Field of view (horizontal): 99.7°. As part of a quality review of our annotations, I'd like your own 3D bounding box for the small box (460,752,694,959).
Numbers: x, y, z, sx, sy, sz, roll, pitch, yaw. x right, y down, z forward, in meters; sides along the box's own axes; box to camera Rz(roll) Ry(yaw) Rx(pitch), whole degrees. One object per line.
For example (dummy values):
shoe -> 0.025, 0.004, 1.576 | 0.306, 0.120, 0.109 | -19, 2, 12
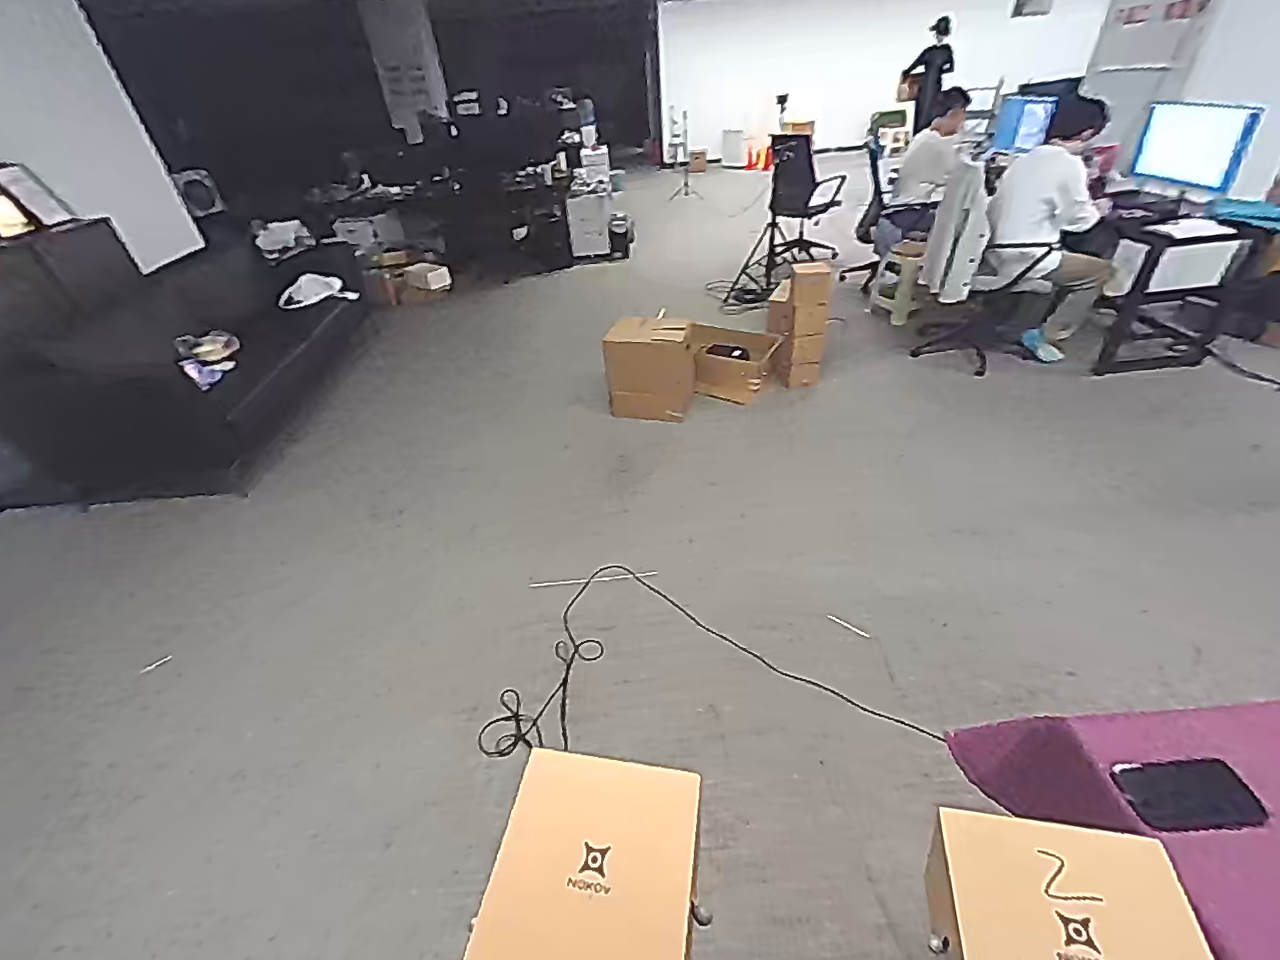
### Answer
small box -> -0.041, 0.389, 0.502 | 0.168, 0.176, 0.179 | 4, 40, 9
